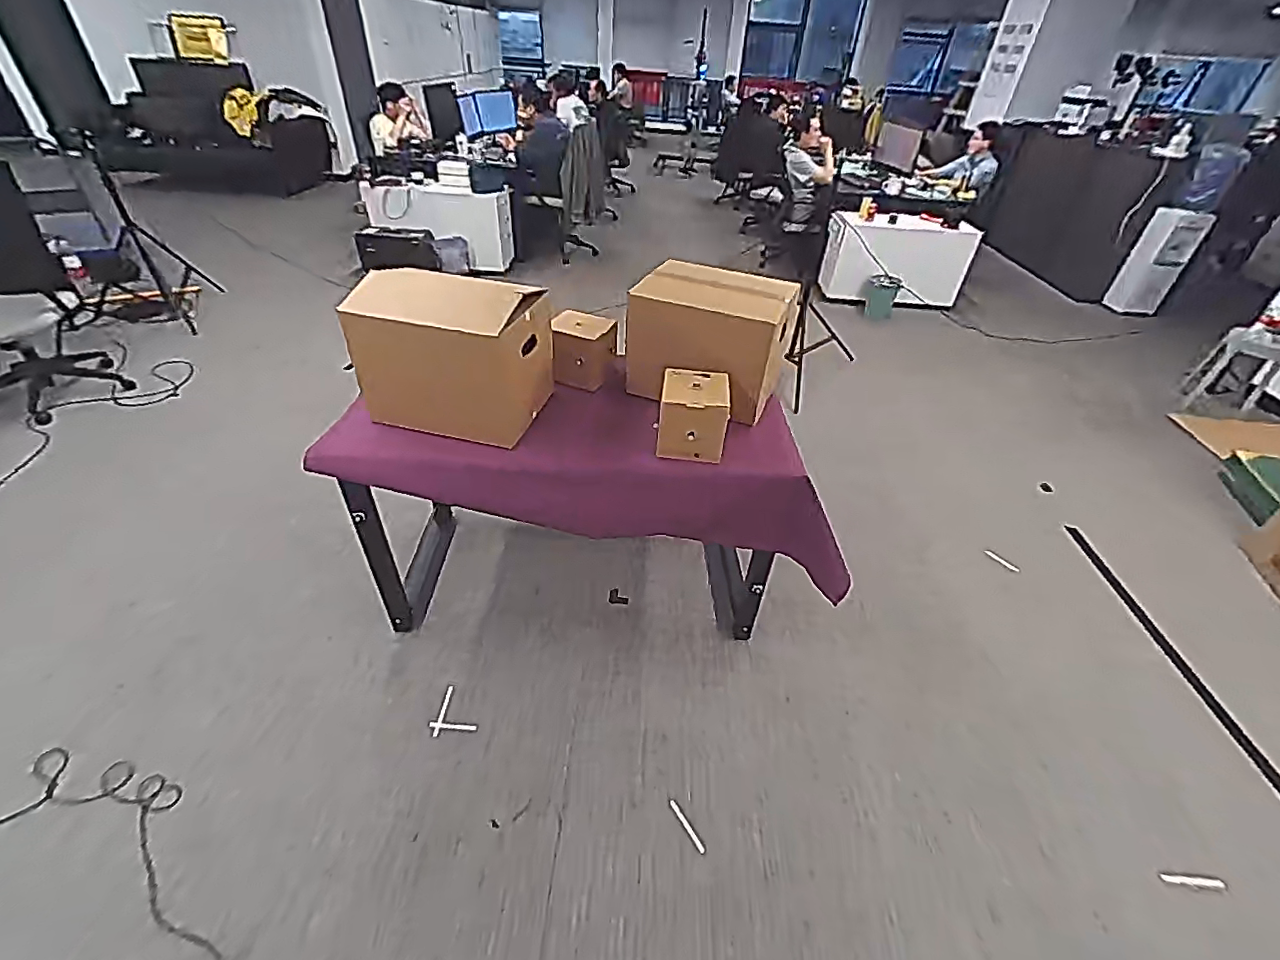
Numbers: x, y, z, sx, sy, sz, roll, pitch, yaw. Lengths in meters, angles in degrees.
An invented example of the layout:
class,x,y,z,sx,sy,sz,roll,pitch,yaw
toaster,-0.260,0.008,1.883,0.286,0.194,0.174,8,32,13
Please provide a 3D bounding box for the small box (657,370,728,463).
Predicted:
class,x,y,z,sx,sy,sz,roll,pitch,yaw
small box,0.136,-0.162,1.392,0.168,0.176,0.179,6,39,3
